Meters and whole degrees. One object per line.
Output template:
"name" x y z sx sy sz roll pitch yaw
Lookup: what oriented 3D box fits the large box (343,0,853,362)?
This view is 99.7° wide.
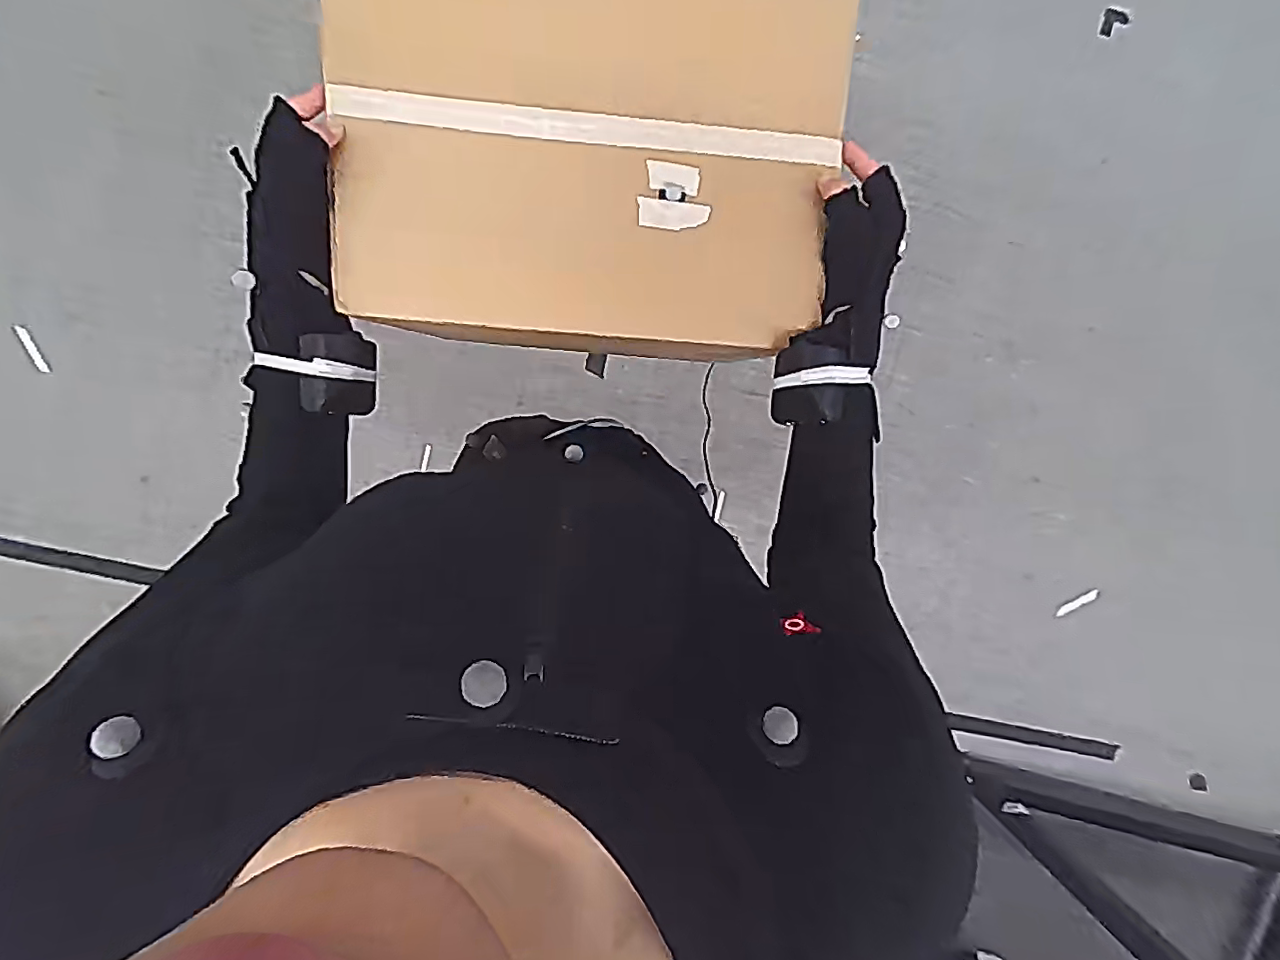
"large box" -0.047 -0.302 0.586 0.408 0.320 0.320 4 101 -6
